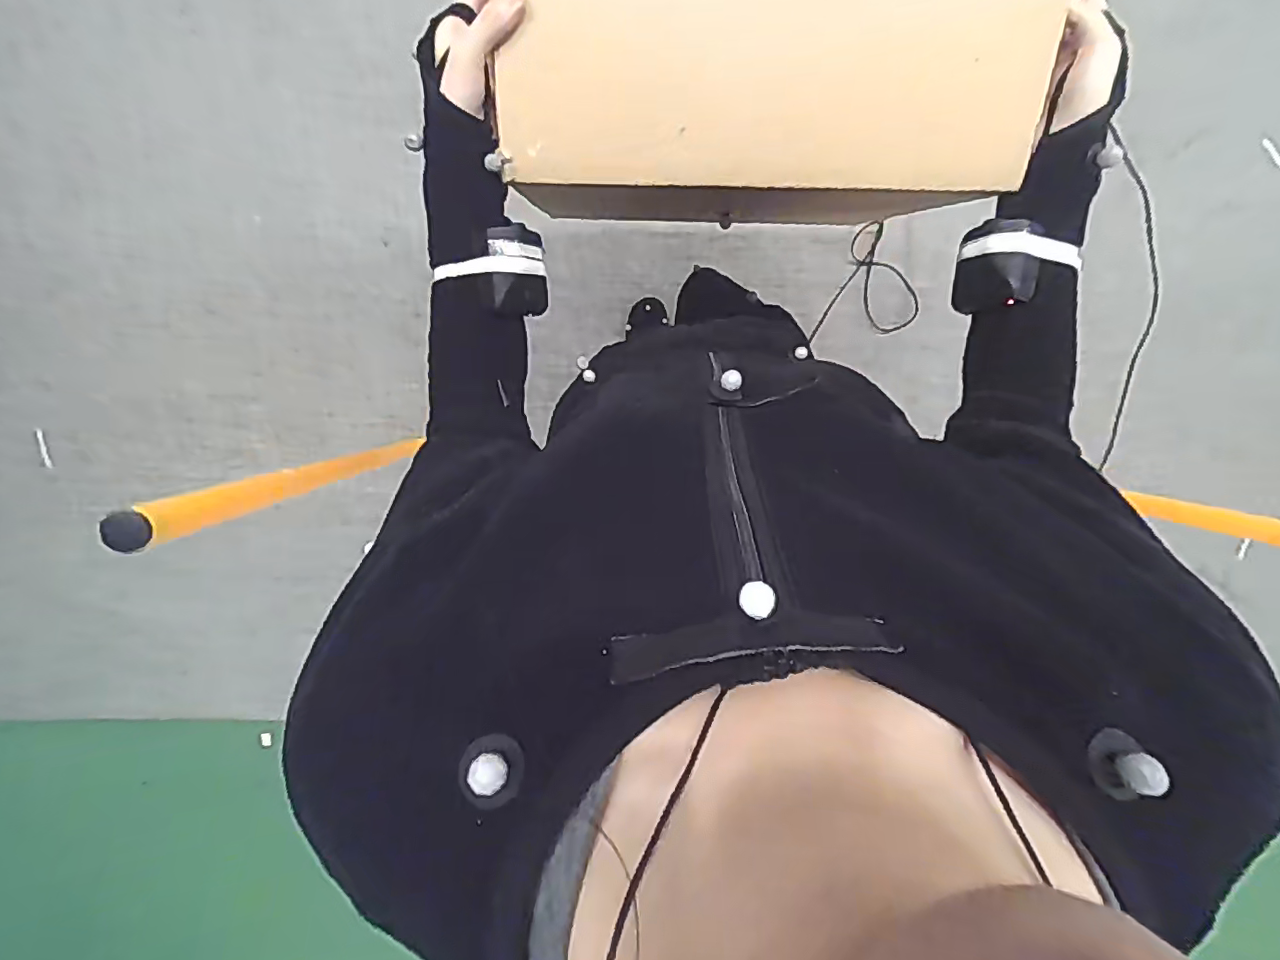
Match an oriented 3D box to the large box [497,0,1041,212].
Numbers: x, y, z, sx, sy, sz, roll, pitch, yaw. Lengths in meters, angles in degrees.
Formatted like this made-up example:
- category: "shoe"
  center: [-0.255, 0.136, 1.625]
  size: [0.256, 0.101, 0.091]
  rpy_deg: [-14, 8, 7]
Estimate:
- category: "large box"
  center: [0.093, -0.437, 0.514]
  size: [0.408, 0.320, 0.320]
  rpy_deg: [0, 110, -1]
